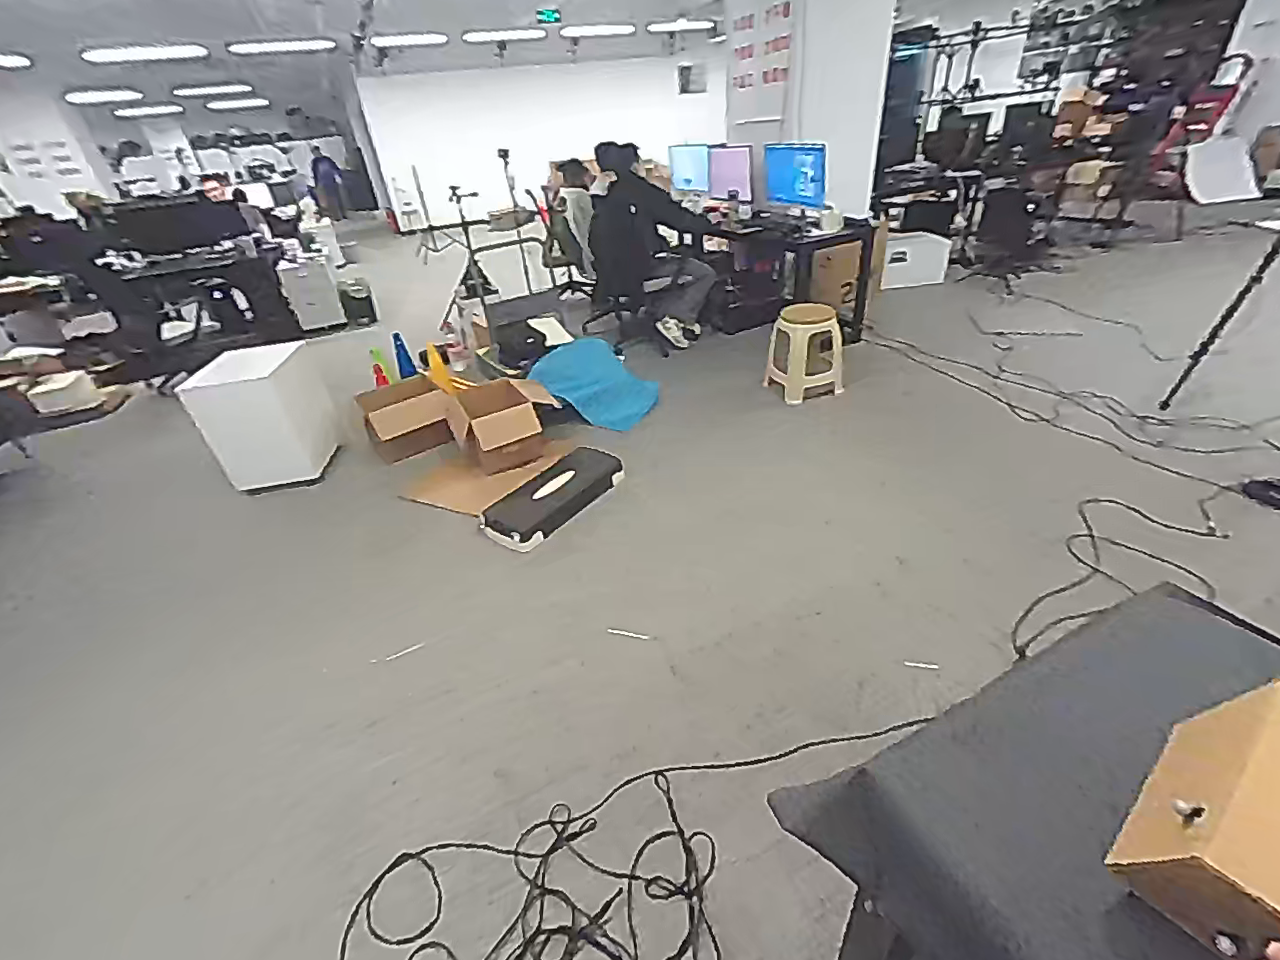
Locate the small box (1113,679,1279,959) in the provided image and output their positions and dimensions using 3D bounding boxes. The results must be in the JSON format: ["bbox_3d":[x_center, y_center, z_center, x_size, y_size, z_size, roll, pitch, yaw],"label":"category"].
[{"bbox_3d":[0.526,0.292,0.423,0.168,0.176,0.179,34,71,34],"label":"small box"}]
